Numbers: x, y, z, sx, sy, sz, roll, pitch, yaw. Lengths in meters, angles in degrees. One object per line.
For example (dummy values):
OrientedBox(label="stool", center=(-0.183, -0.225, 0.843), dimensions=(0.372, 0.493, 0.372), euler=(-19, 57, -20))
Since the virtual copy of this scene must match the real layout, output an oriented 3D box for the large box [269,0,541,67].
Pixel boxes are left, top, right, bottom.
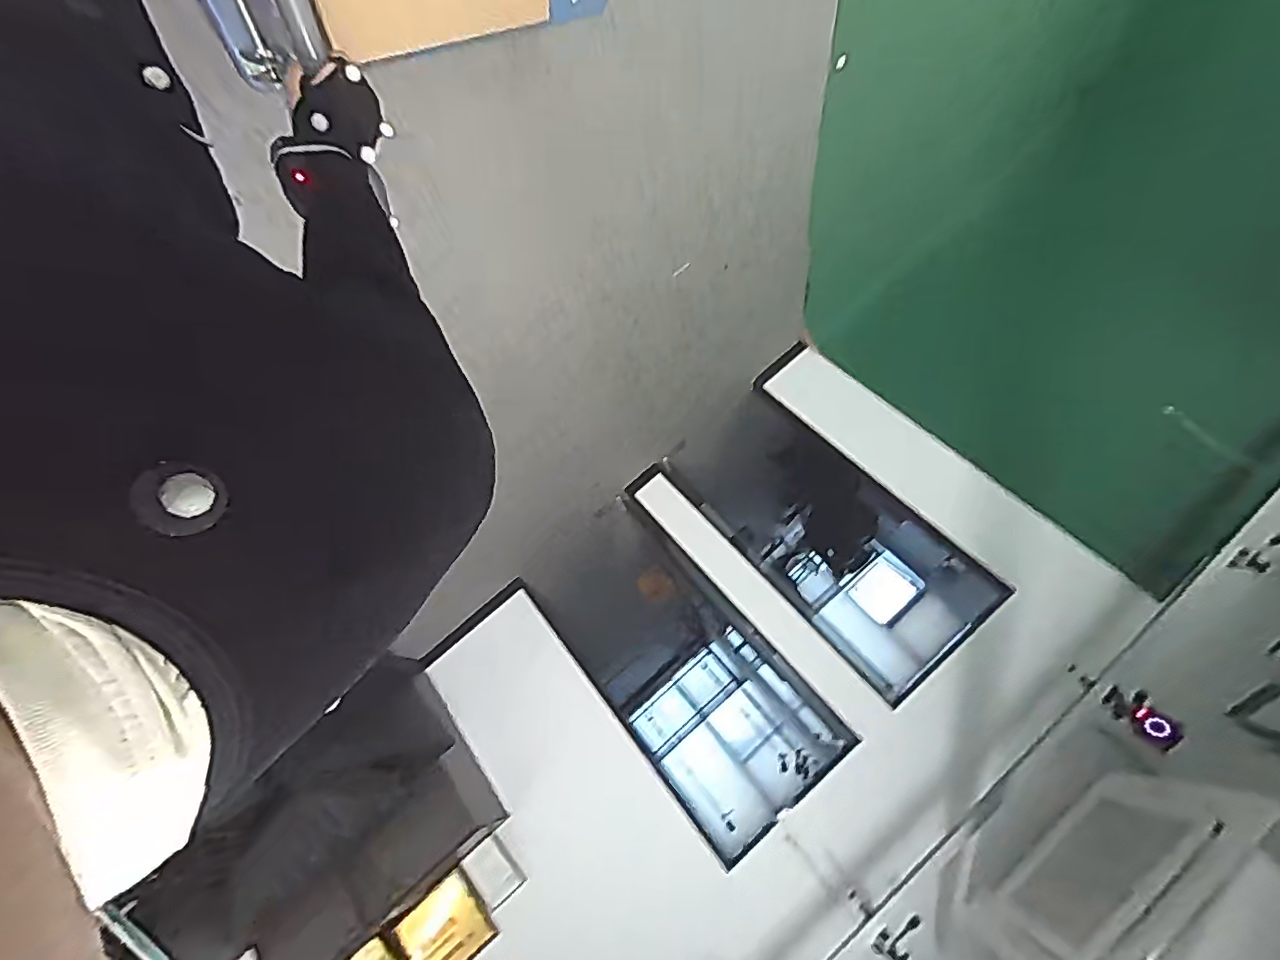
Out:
OrientedBox(label="large box", center=(-0.429, -0.949, 0.878), dimensions=(0.408, 0.320, 0.320), euler=(-34, 154, -21))
